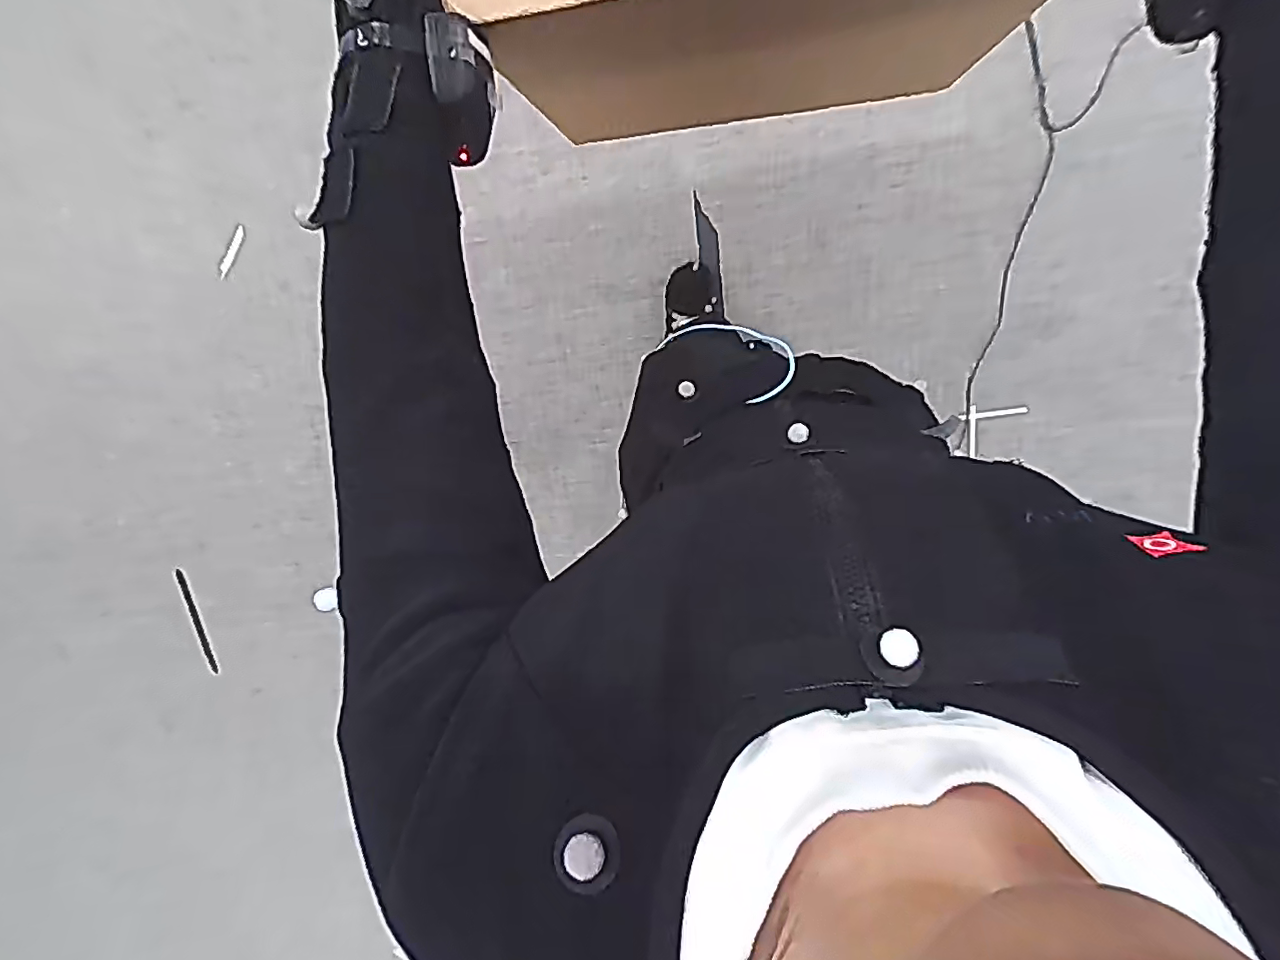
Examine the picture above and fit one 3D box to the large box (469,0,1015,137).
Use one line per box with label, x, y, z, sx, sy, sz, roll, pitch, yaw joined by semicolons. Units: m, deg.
large box;0.084;-0.502;0.407;0.408;0.320;0.320;-4;110;9
